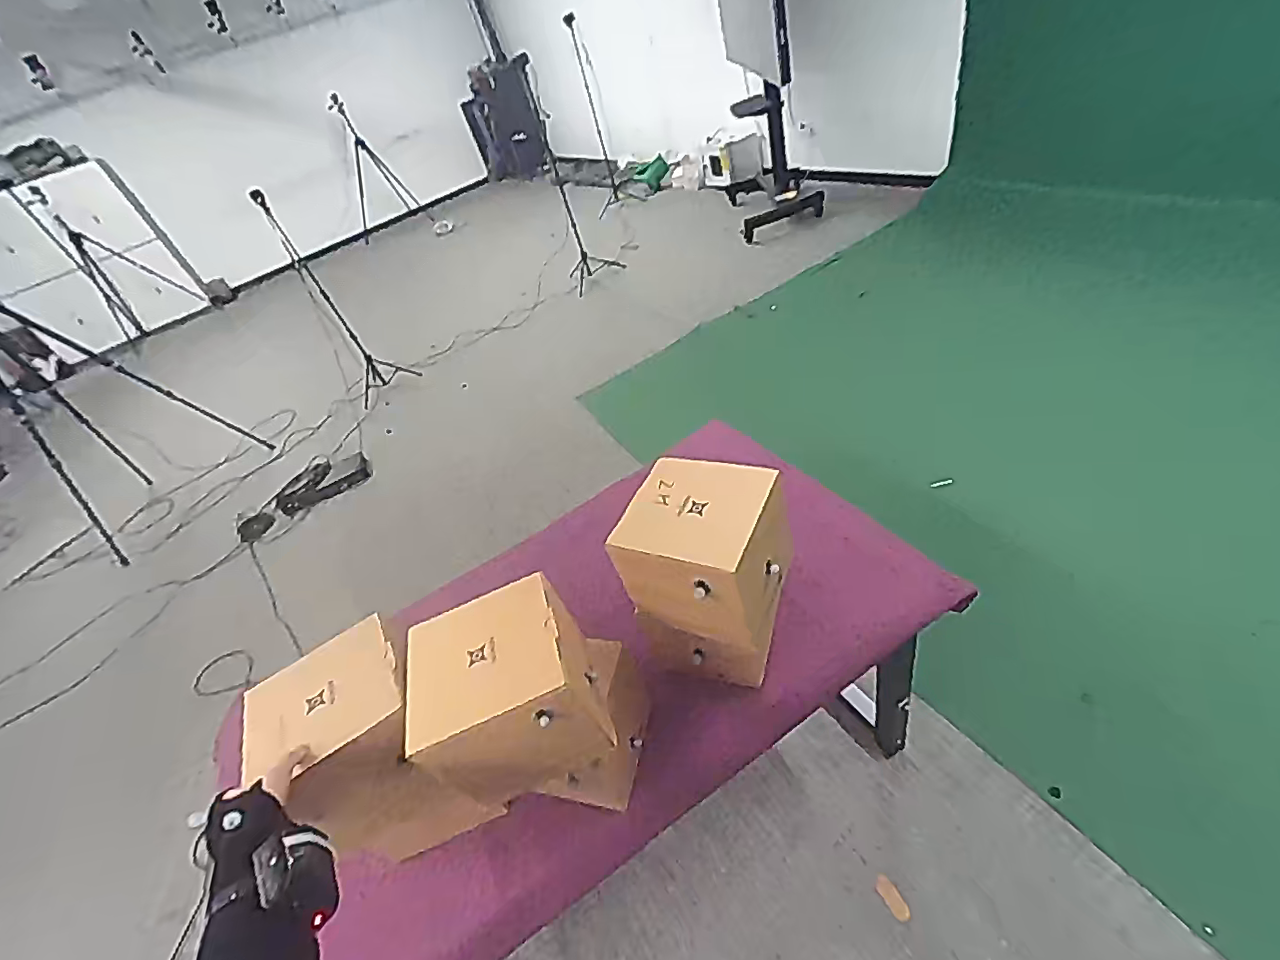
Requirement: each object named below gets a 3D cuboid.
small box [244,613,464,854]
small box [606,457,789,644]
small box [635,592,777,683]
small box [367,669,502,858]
[{"bbox_3d":[-0.338,0.306,0.661,0.179,0.176,0.168,-34,42,-16],"label":"small box"},{"bbox_3d":[0.089,0.093,0.720,0.179,0.176,0.168,8,47,32],"label":"small box"},{"bbox_3d":[0.115,0.194,0.855,0.168,0.176,0.179,3,45,26],"label":"small box"},{"bbox_3d":[-0.315,0.415,0.788,0.179,0.176,0.168,-16,38,-4],"label":"small box"}]
